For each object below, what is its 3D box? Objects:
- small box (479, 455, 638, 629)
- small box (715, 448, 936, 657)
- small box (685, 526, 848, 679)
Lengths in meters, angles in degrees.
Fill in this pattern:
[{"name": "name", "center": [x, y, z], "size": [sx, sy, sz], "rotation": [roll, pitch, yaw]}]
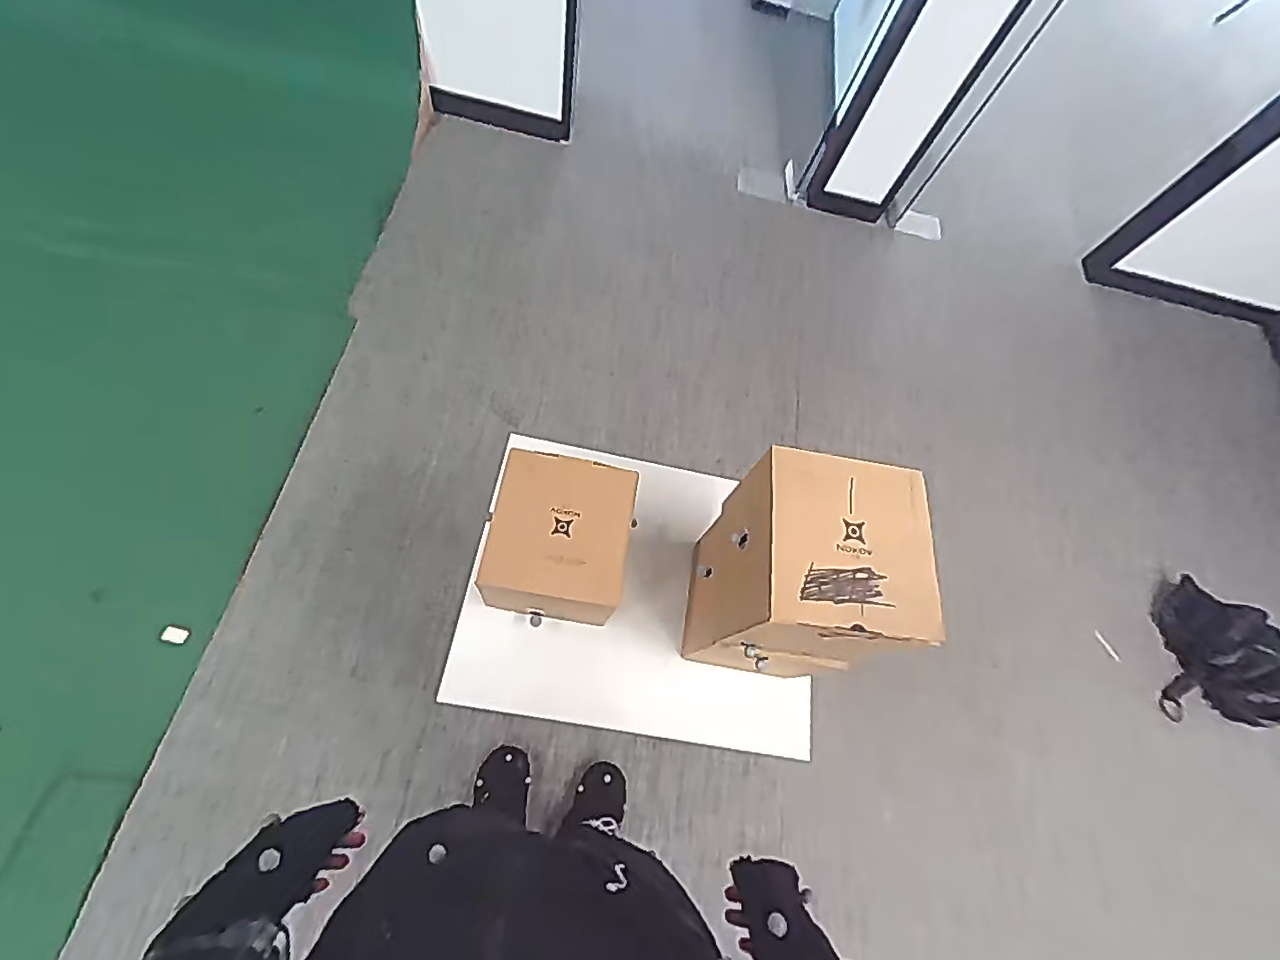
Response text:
[{"name": "small box", "center": [-0.105, 0.091, 0.717], "size": [0.168, 0.176, 0.179], "rotation": [9, 67, -6]}, {"name": "small box", "center": [0.184, 0.089, 0.585], "size": [0.168, 0.176, 0.179], "rotation": [9, 65, -6]}, {"name": "small box", "center": [0.163, 0.161, 0.732], "size": [0.168, 0.176, 0.179], "rotation": [11, 65, -4]}]
